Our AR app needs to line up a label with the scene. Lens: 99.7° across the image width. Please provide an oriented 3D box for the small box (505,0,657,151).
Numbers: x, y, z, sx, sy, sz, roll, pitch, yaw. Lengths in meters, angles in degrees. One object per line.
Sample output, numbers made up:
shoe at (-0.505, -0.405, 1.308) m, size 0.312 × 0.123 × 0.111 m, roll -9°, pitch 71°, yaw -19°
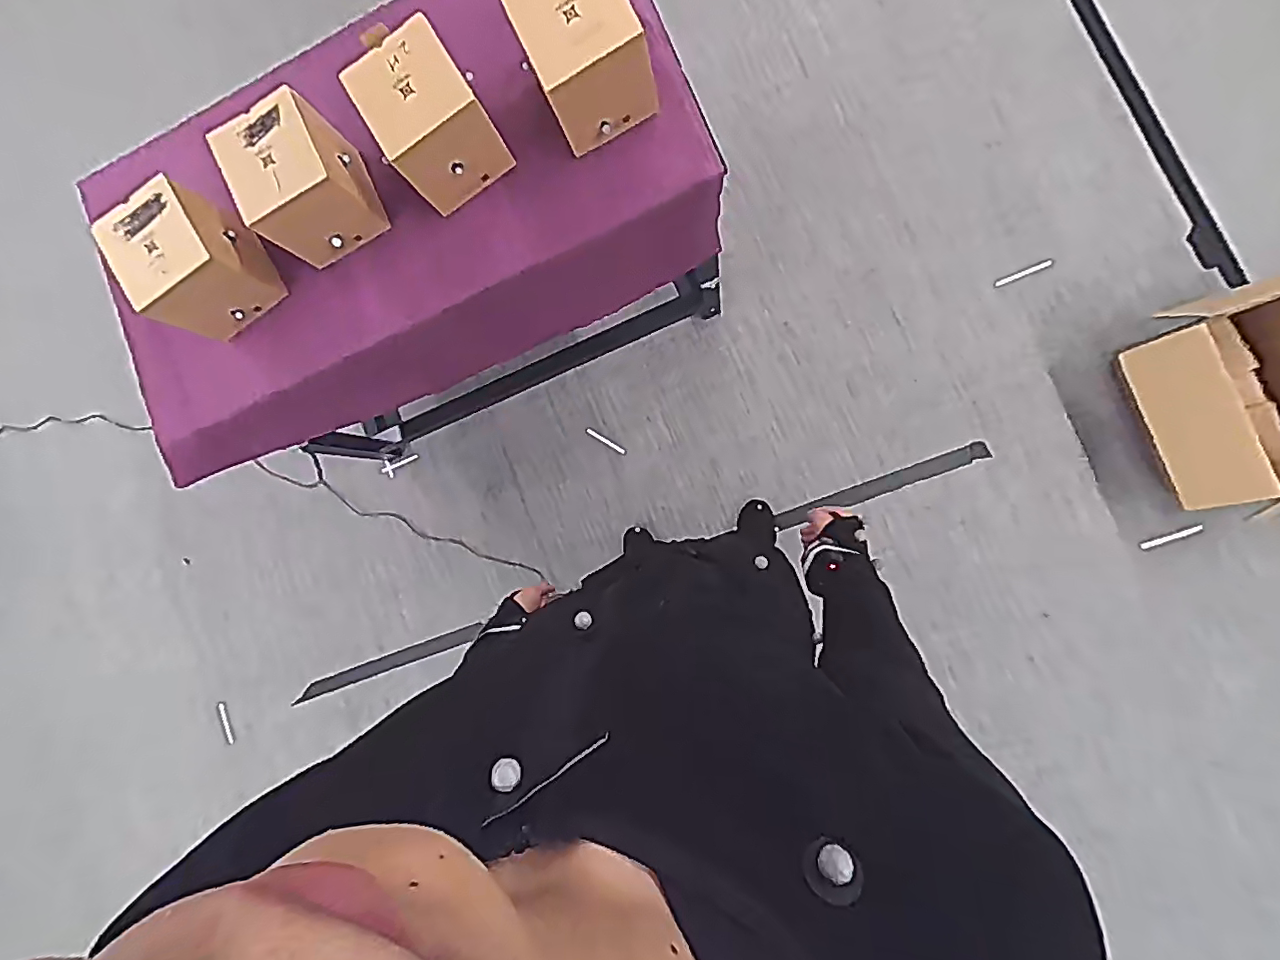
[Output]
small box at (-0.088, -0.686, 0.872) m, size 0.168 × 0.176 × 0.179 m, roll -26°, pitch 84°, yaw 9°

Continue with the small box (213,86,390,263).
small box at (-0.581, -0.520, 0.948) m, size 0.168 × 0.176 × 0.179 m, roll -26°, pitch 85°, yaw 8°

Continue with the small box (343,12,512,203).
small box at (-0.345, -0.605, 0.911) m, size 0.168 × 0.176 × 0.179 m, roll -32°, pitch 83°, yaw 7°
